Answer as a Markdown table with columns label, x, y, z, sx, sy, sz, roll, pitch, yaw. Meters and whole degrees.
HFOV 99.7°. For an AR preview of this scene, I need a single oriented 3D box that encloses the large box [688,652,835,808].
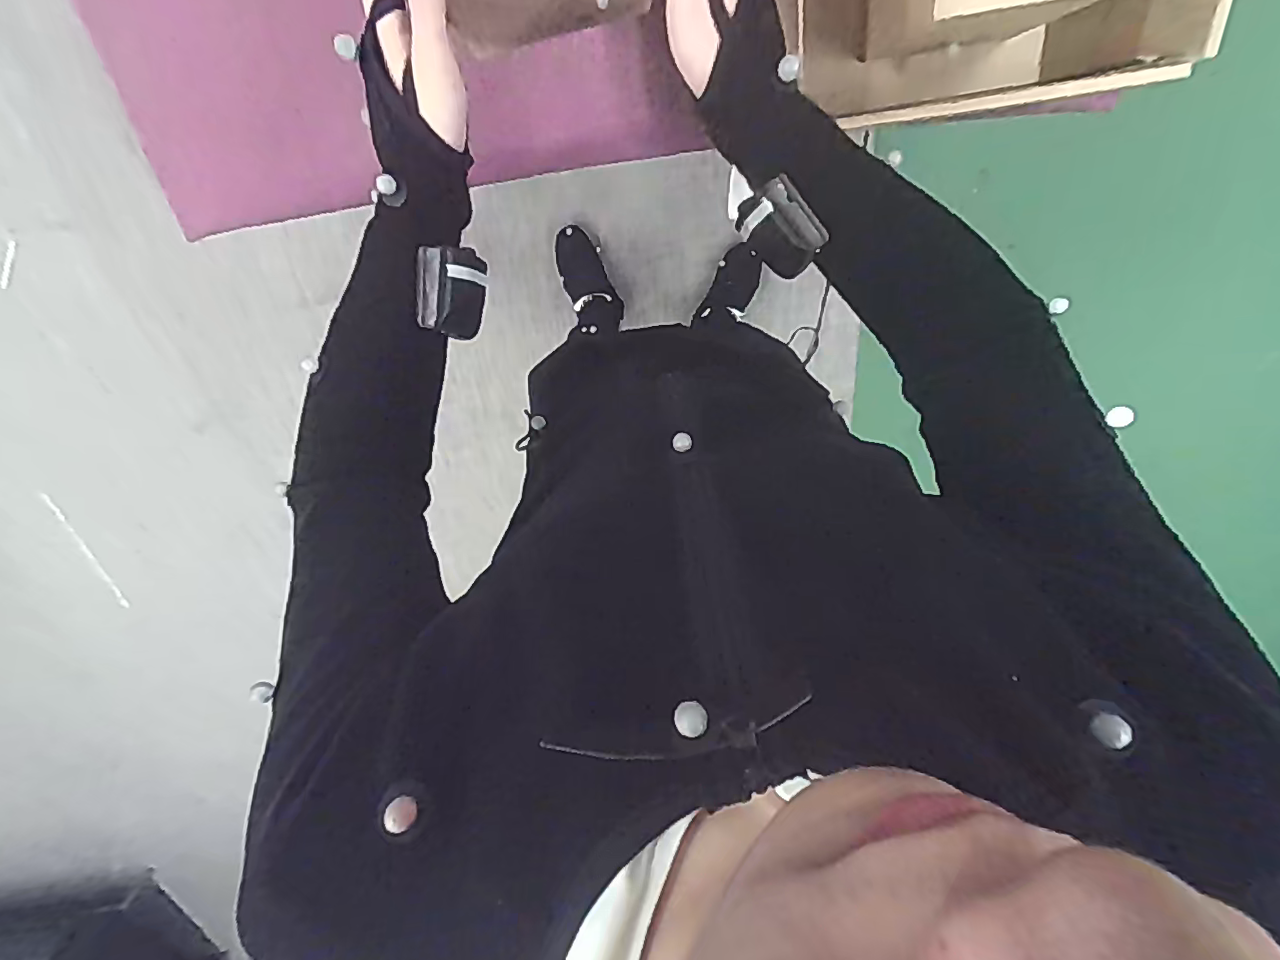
| label | x | y | z | sx | sy | sz | roll | pitch | yaw |
| --- | --- | --- | --- | --- | --- | --- | --- | --- | --- |
| large box | 0.439 | 0.940 | 2.045 | 0.408 | 0.320 | 0.320 | -38 | 113 | 14 |

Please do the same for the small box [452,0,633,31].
| label | x | y | z | sx | sy | sz | roll | pitch | yaw |
| --- | --- | --- | --- | --- | --- | --- | --- | --- | --- |
| small box | -0.081 | -0.451 | 0.375 | 0.168 | 0.176 | 0.179 | -13 | 114 | 2 |
